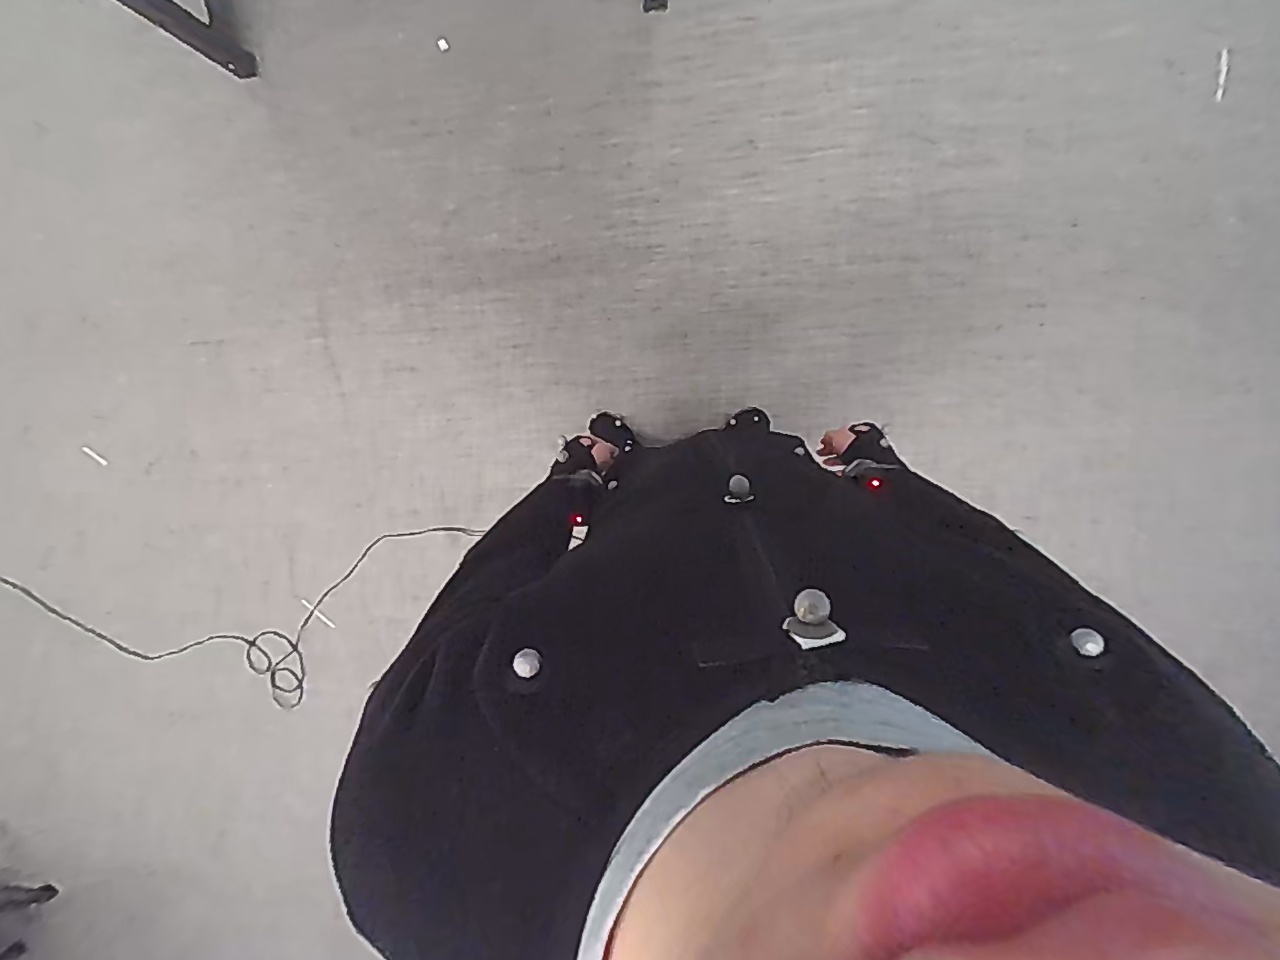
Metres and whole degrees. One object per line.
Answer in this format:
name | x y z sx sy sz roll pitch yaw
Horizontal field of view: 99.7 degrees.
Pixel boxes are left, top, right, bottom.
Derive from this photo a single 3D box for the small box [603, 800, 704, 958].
small box | 0.034 0.748 1.027 0.168 0.176 0.179 -4 102 9
